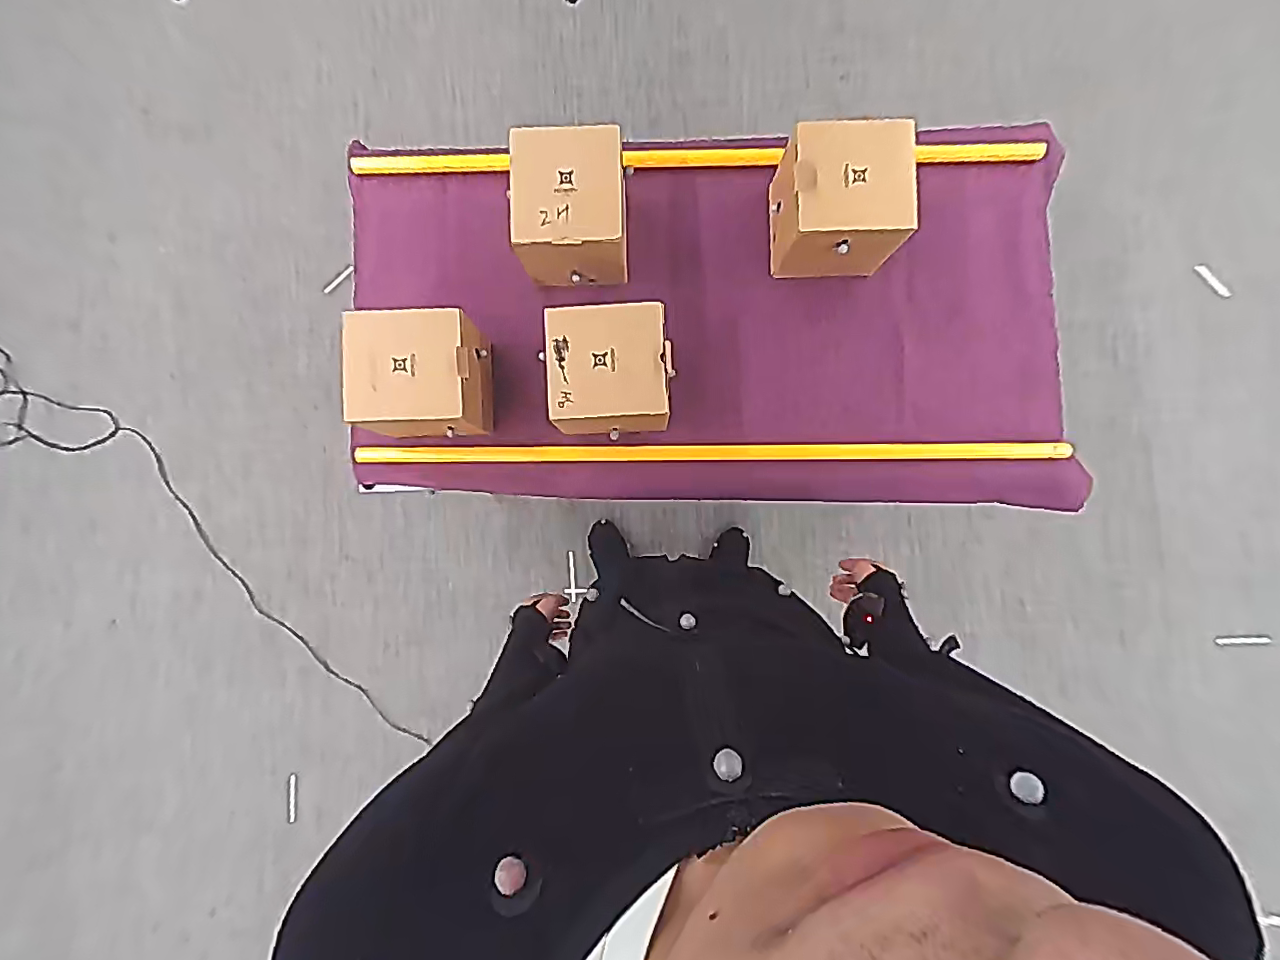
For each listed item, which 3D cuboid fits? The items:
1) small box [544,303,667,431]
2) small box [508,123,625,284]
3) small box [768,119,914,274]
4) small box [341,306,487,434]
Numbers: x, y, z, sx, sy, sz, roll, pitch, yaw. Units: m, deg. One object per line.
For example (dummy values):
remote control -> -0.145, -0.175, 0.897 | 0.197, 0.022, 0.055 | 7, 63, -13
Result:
small box -> -0.051, -0.171, 0.859 | 0.179, 0.176, 0.168 | -2, 87, 0
small box -> -0.111, -0.436, 0.873 | 0.168, 0.176, 0.179 | -1, 89, 1
small box -> 0.312, -0.443, 0.868 | 0.179, 0.176, 0.168 | -1, 88, 2
small box -> -0.347, -0.167, 0.862 | 0.179, 0.176, 0.168 | -2, 87, -1
